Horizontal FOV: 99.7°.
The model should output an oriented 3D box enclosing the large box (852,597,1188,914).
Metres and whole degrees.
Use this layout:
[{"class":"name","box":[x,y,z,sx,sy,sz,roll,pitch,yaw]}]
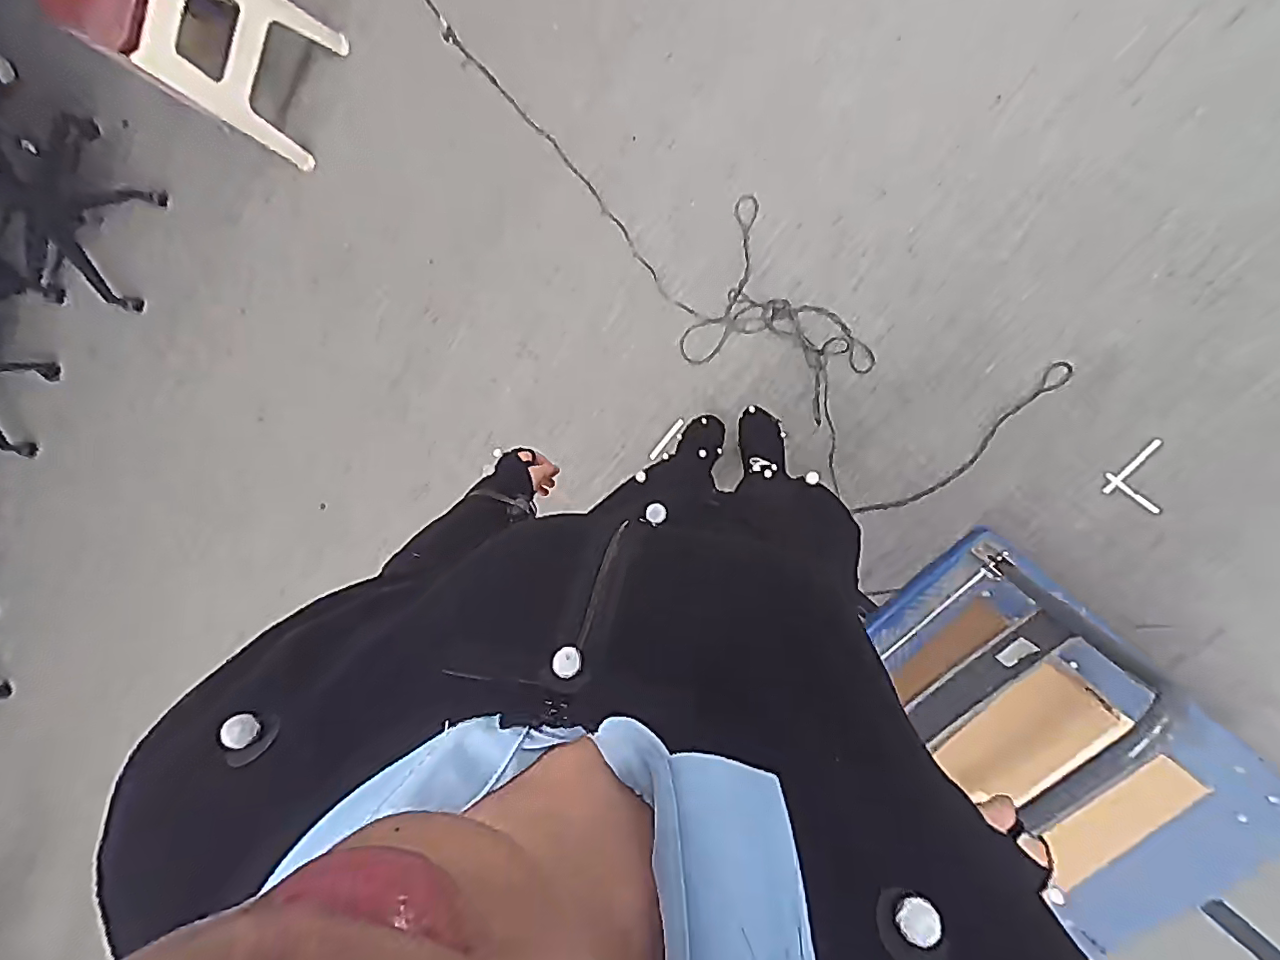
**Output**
[{"class":"large box","box":[0.696,0.517,1.081,0.320,0.320,0.408,39,106,7]}]
